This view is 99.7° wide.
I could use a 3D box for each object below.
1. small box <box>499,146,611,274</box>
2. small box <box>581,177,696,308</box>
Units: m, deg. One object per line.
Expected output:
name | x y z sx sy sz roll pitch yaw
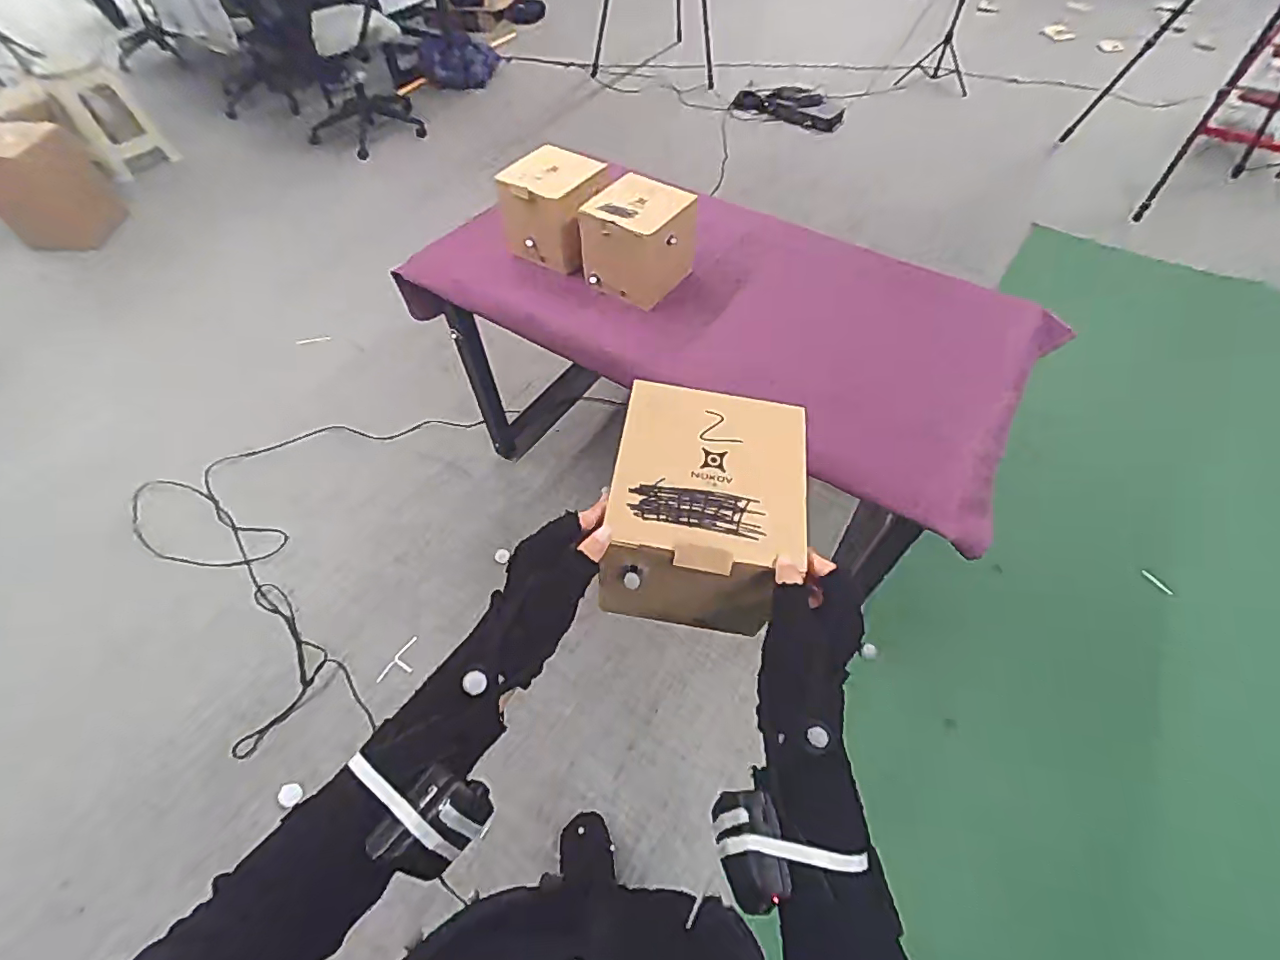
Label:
small box | -0.176 -0.586 1.177 0.168 0.176 0.179 29 61 19
small box | 0.006 -0.484 1.110 0.168 0.176 0.179 26 62 22
